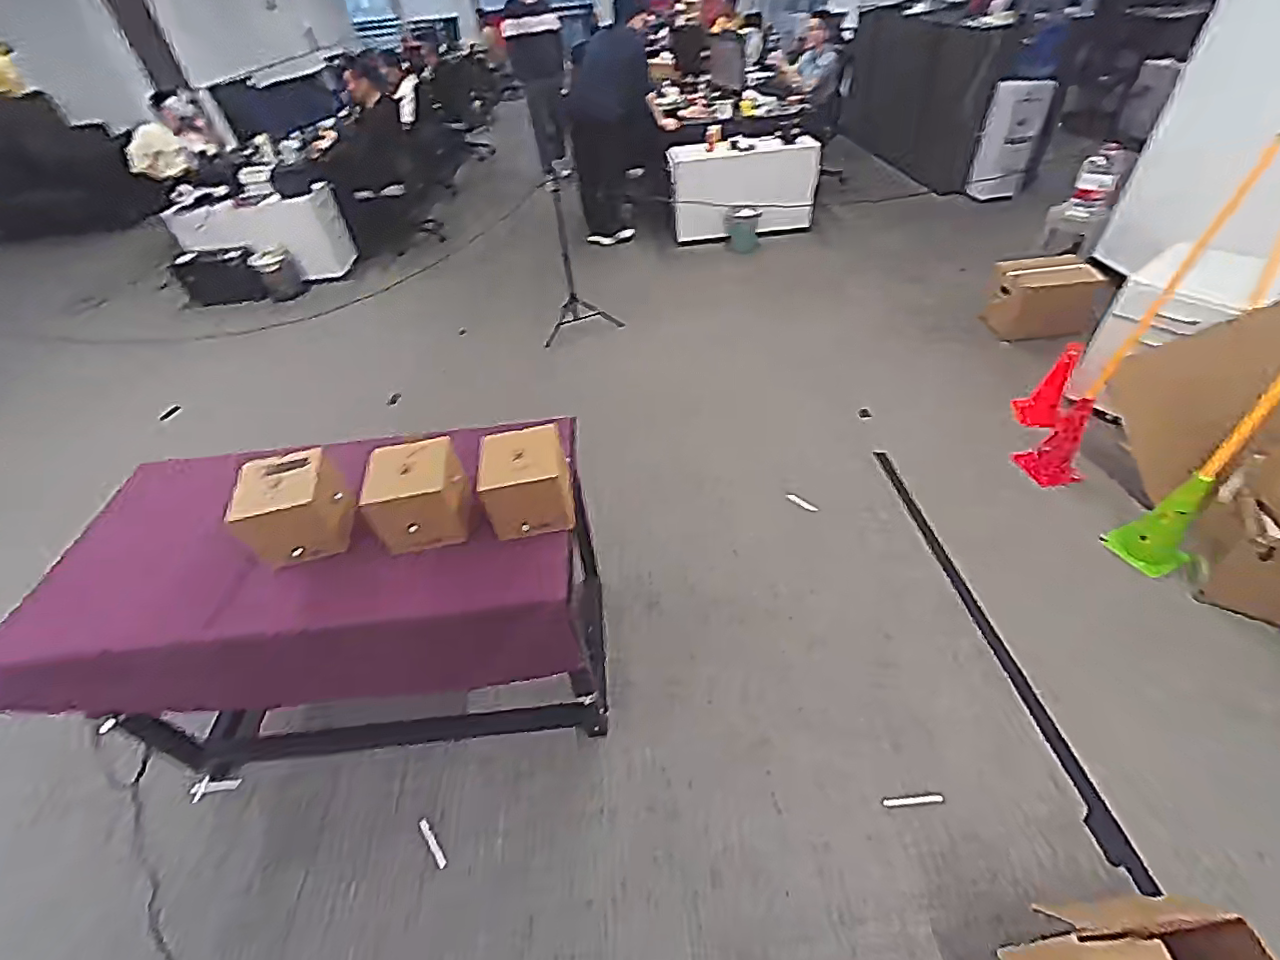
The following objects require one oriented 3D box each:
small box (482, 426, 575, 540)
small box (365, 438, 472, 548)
[{"bbox_3d":[-0.242,0.006,1.205,0.168,0.176,0.179,-11,43,-2],"label":"small box"},{"bbox_3d":[-0.480,0.035,1.202,0.168,0.176,0.179,-10,44,-4],"label":"small box"}]
